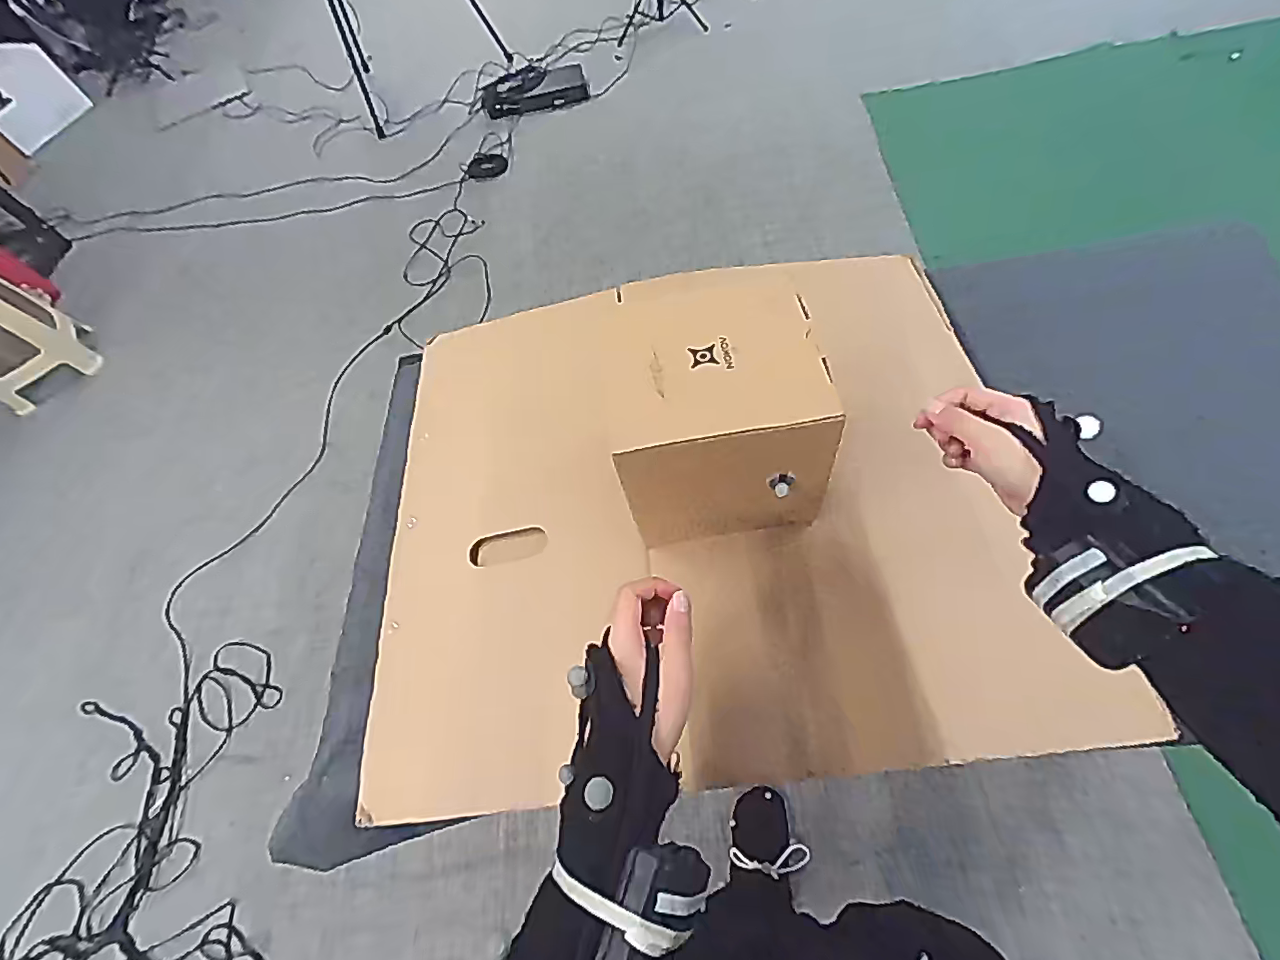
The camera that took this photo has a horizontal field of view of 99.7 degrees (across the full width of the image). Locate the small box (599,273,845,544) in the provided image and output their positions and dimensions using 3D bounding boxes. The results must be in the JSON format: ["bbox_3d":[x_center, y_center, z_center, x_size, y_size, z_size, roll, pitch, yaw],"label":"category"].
[{"bbox_3d":[0.068,-0.057,0.503,0.179,0.176,0.168,-10,57,5],"label":"small box"}]
